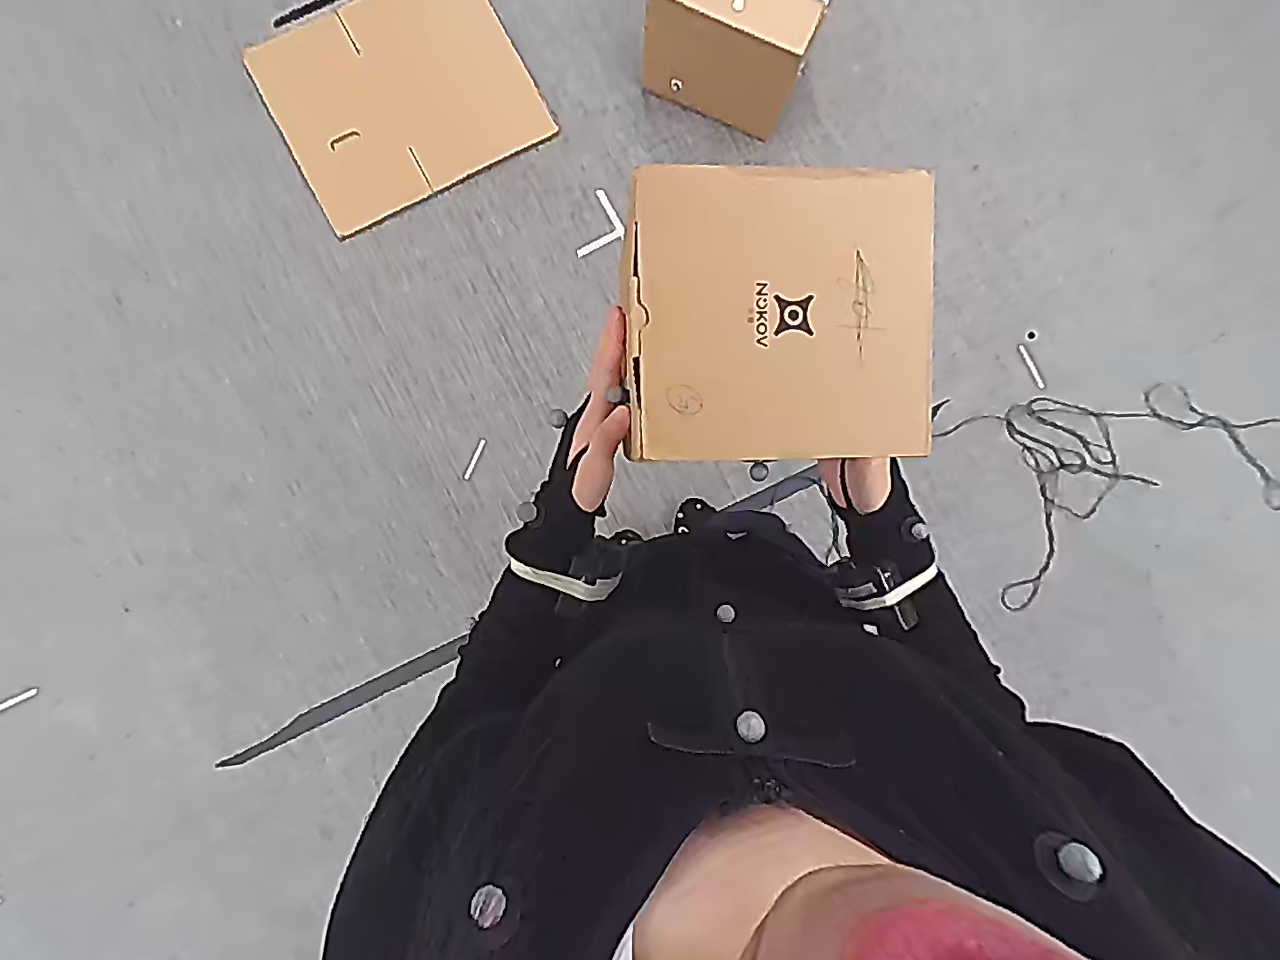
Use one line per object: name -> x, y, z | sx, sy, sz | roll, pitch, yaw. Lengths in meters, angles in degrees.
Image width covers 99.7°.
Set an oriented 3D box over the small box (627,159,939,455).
small box -> 0.080, -0.101, 0.387 | 0.179, 0.176, 0.168 | -2, 94, -5
